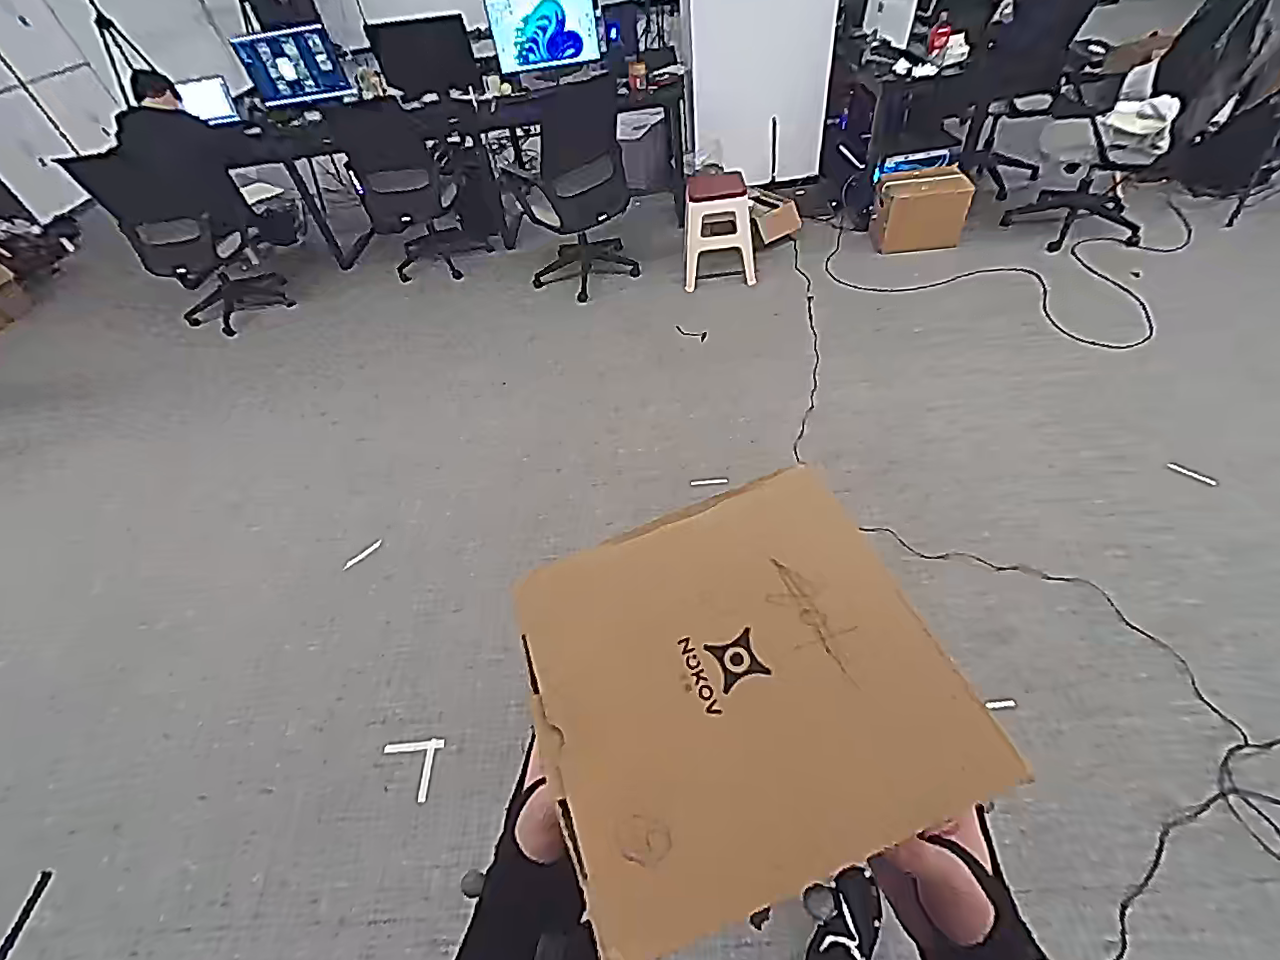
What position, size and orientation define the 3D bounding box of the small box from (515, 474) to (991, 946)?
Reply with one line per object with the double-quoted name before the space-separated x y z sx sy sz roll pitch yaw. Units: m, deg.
"small box" 0.050 0.132 0.323 0.179 0.176 0.168 -22 56 -6
